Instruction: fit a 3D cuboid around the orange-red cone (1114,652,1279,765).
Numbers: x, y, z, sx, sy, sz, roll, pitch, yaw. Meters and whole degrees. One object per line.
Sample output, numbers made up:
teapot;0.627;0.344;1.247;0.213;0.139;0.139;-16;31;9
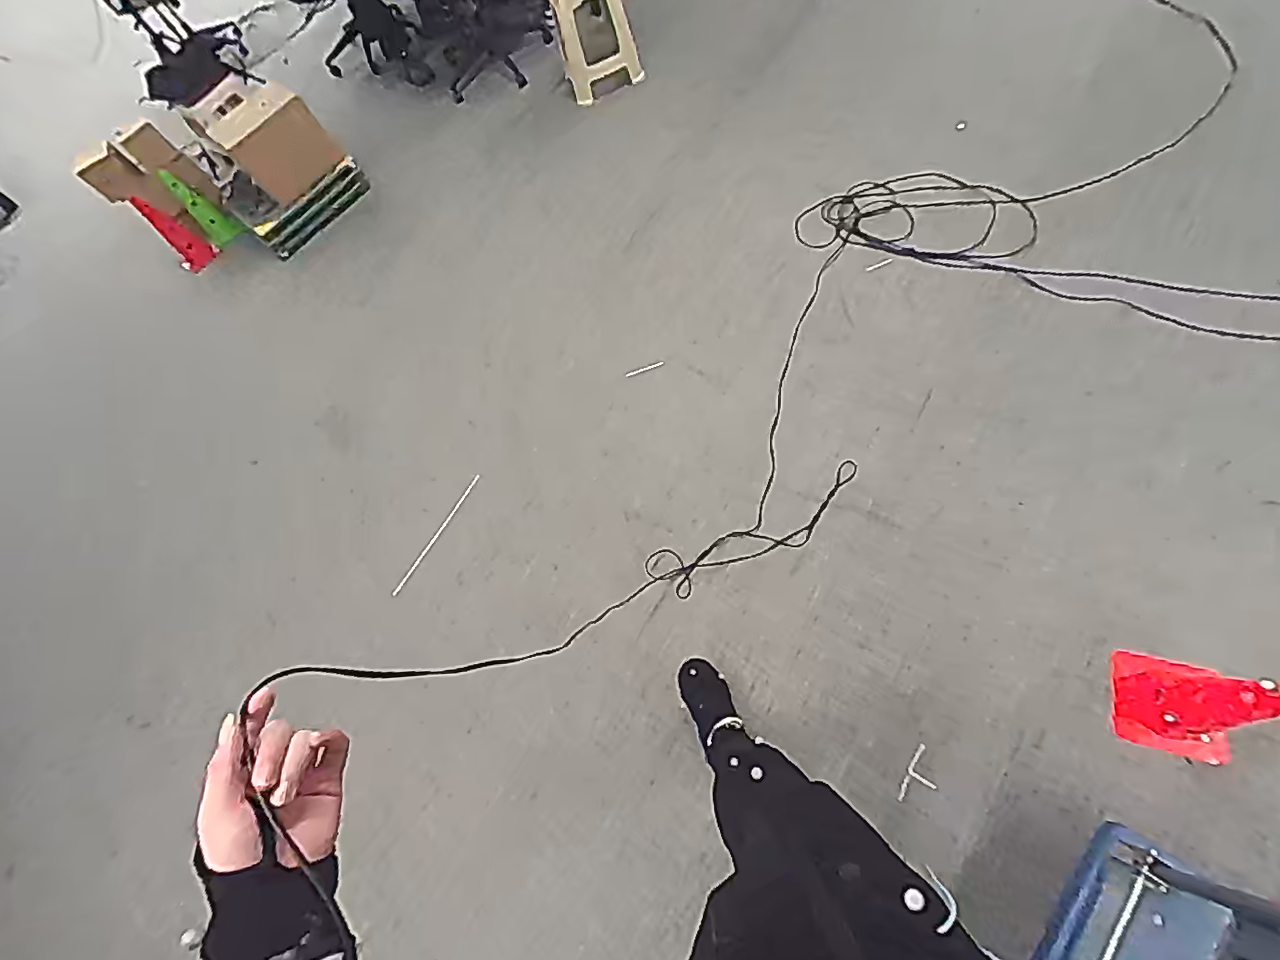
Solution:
orange-red cone;1.134;0.429;1.046;0.198;0.360;0.199;12;68;18
